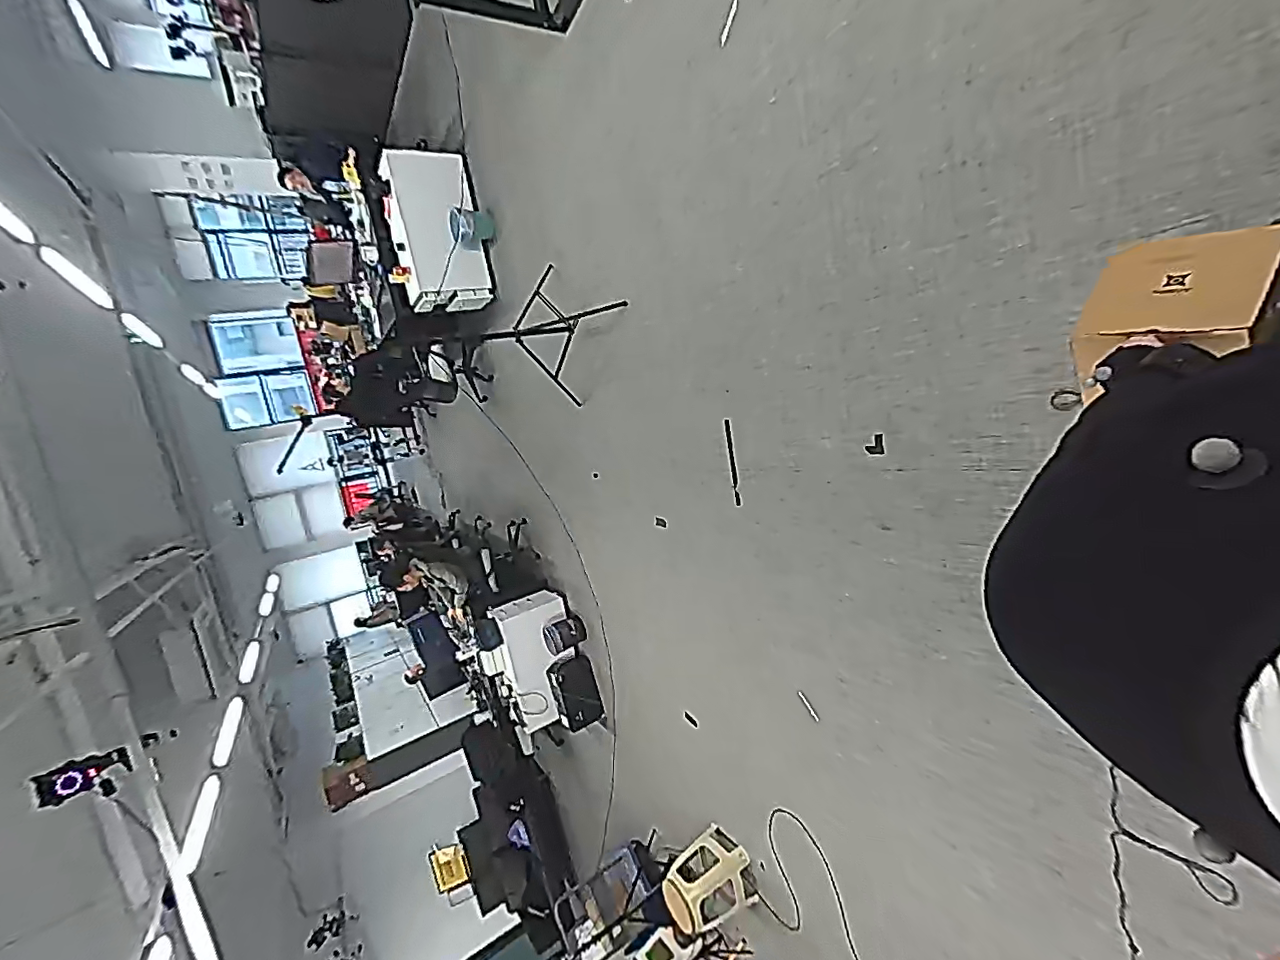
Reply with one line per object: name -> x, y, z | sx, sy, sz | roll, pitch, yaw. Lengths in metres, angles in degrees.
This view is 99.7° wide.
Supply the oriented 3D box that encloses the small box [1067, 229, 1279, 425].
small box -> 0.710, -0.194, 0.720 | 0.168, 0.179, 0.176 | 18, 157, 52
